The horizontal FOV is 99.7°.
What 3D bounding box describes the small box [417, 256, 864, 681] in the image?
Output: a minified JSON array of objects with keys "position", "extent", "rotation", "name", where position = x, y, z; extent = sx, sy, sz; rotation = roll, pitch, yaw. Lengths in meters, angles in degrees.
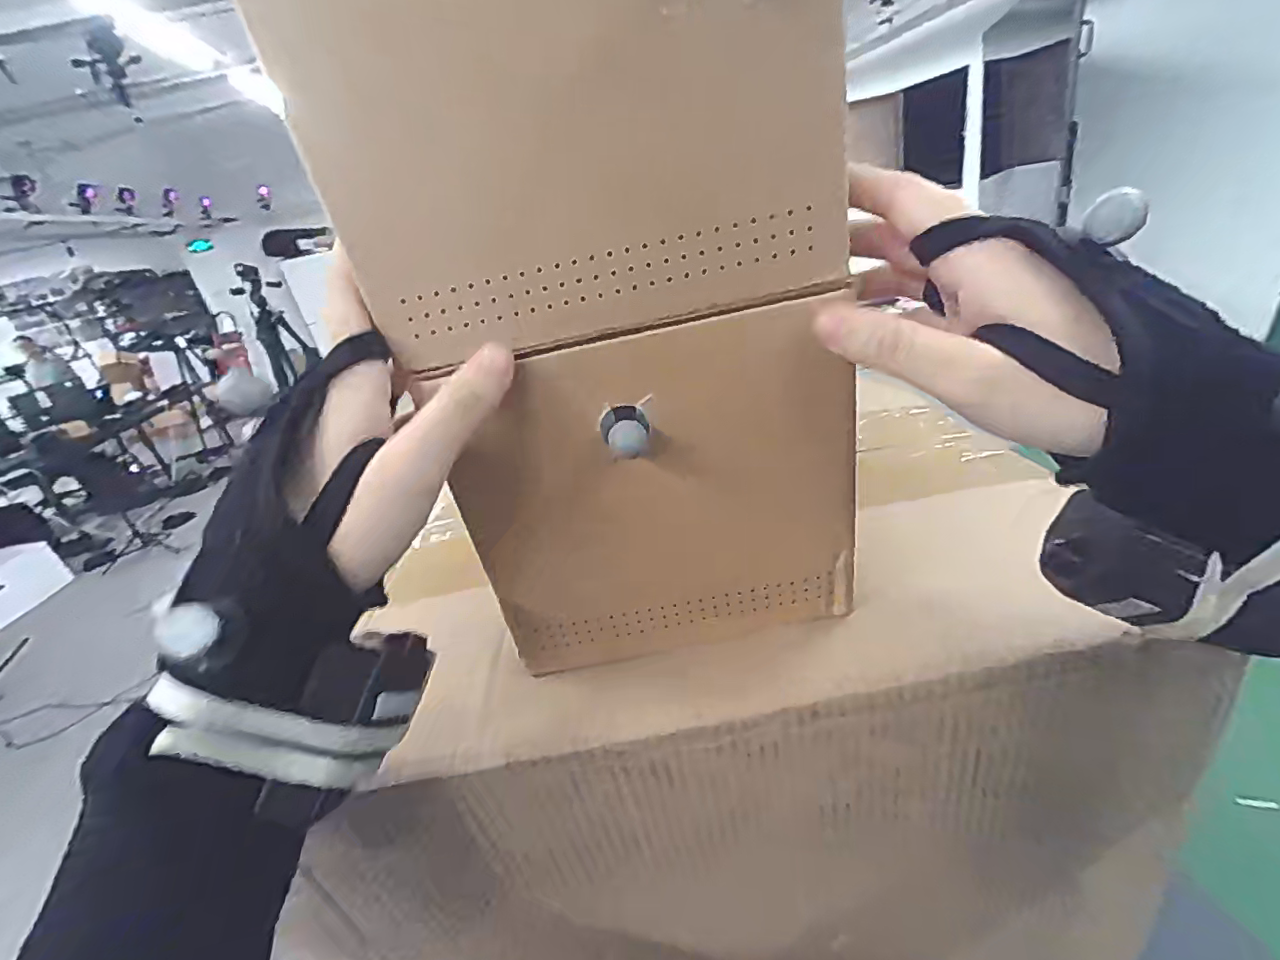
[{"position":[0.009,-0.013,0.312],"extent":[0.179,0.176,0.168],"rotation":[-12,29,3],"name":"small box"}]
